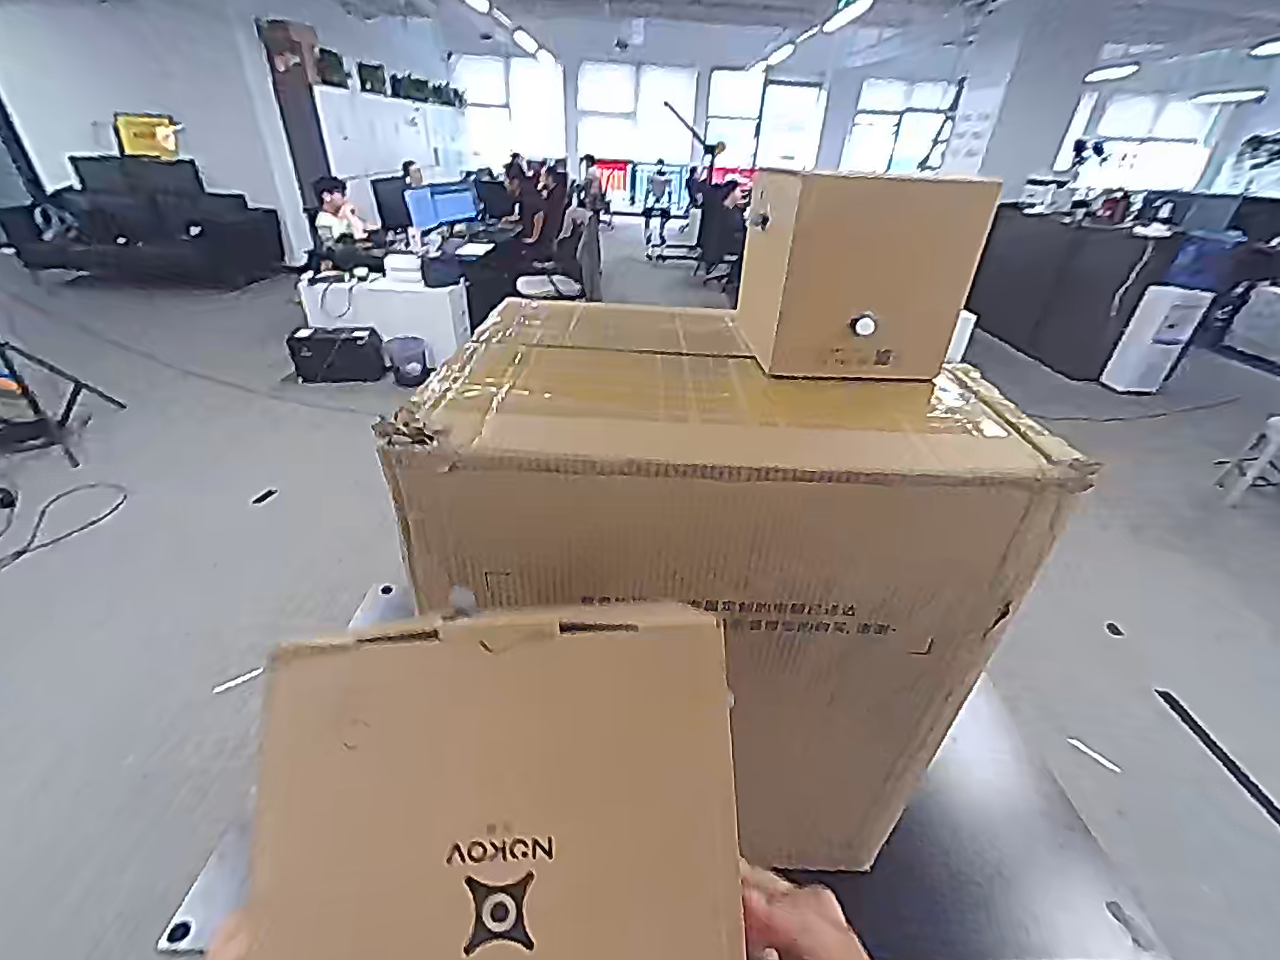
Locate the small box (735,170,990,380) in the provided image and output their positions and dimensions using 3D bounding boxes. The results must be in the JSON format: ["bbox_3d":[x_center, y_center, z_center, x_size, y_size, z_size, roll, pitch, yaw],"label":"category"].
[{"bbox_3d":[0.196,-0.210,0.544,0.168,0.176,0.179,0,31,-2],"label":"small box"}]

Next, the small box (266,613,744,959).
[{"bbox_3d":[-0.048,0.159,0.269,0.168,0.179,0.176,-3,-11,-1],"label":"small box"}]
